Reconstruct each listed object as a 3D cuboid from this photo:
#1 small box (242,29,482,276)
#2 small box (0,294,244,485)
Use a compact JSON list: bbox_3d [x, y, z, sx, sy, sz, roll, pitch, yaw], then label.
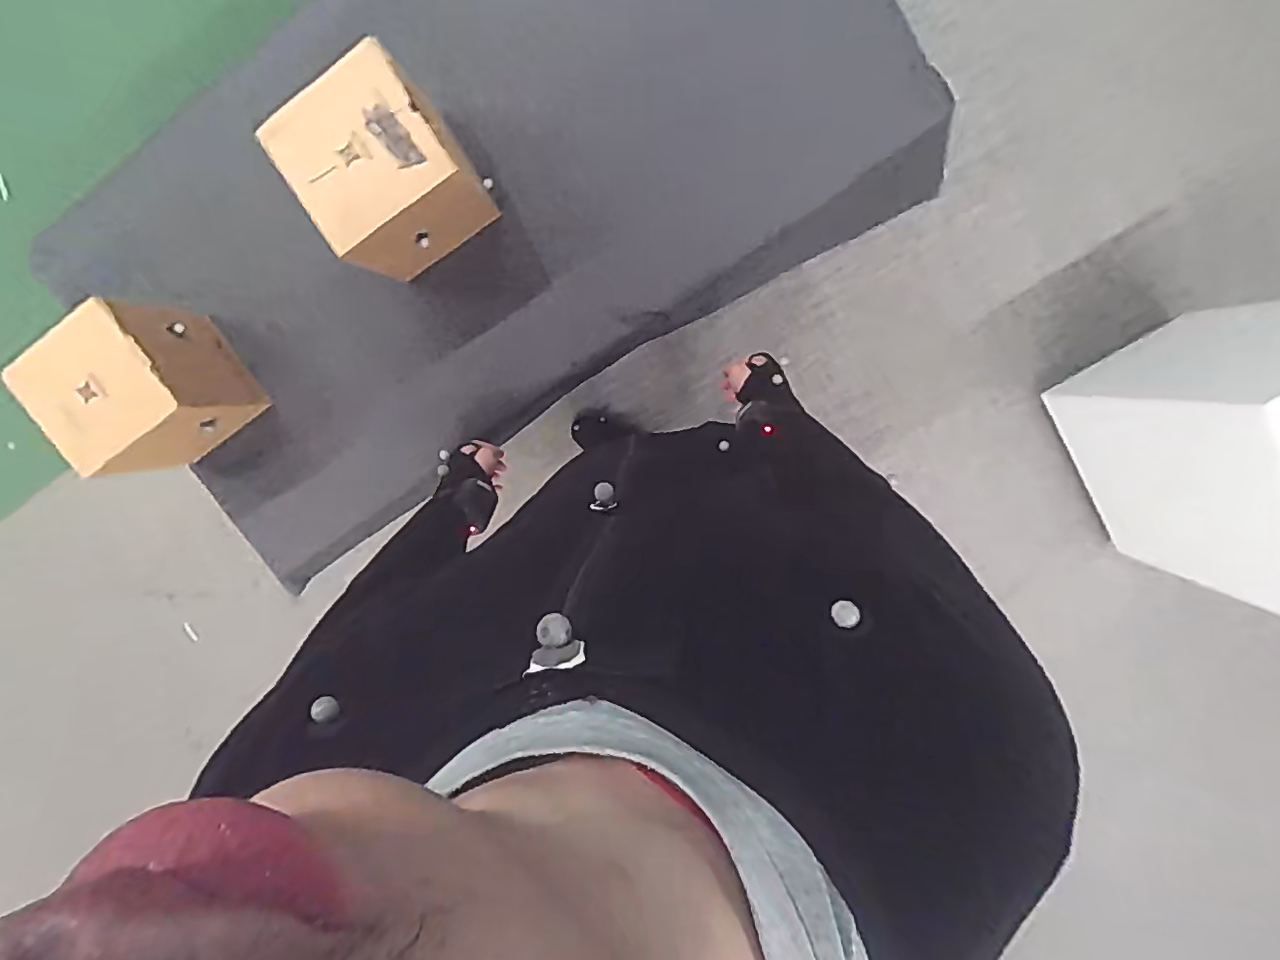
[{"bbox_3d":[-0.318,-0.381,0.667,0.179,0.176,0.168,-31,97,7],"label":"small box"},{"bbox_3d":[-0.683,-0.119,0.723,0.179,0.176,0.168,-33,96,8],"label":"small box"}]
